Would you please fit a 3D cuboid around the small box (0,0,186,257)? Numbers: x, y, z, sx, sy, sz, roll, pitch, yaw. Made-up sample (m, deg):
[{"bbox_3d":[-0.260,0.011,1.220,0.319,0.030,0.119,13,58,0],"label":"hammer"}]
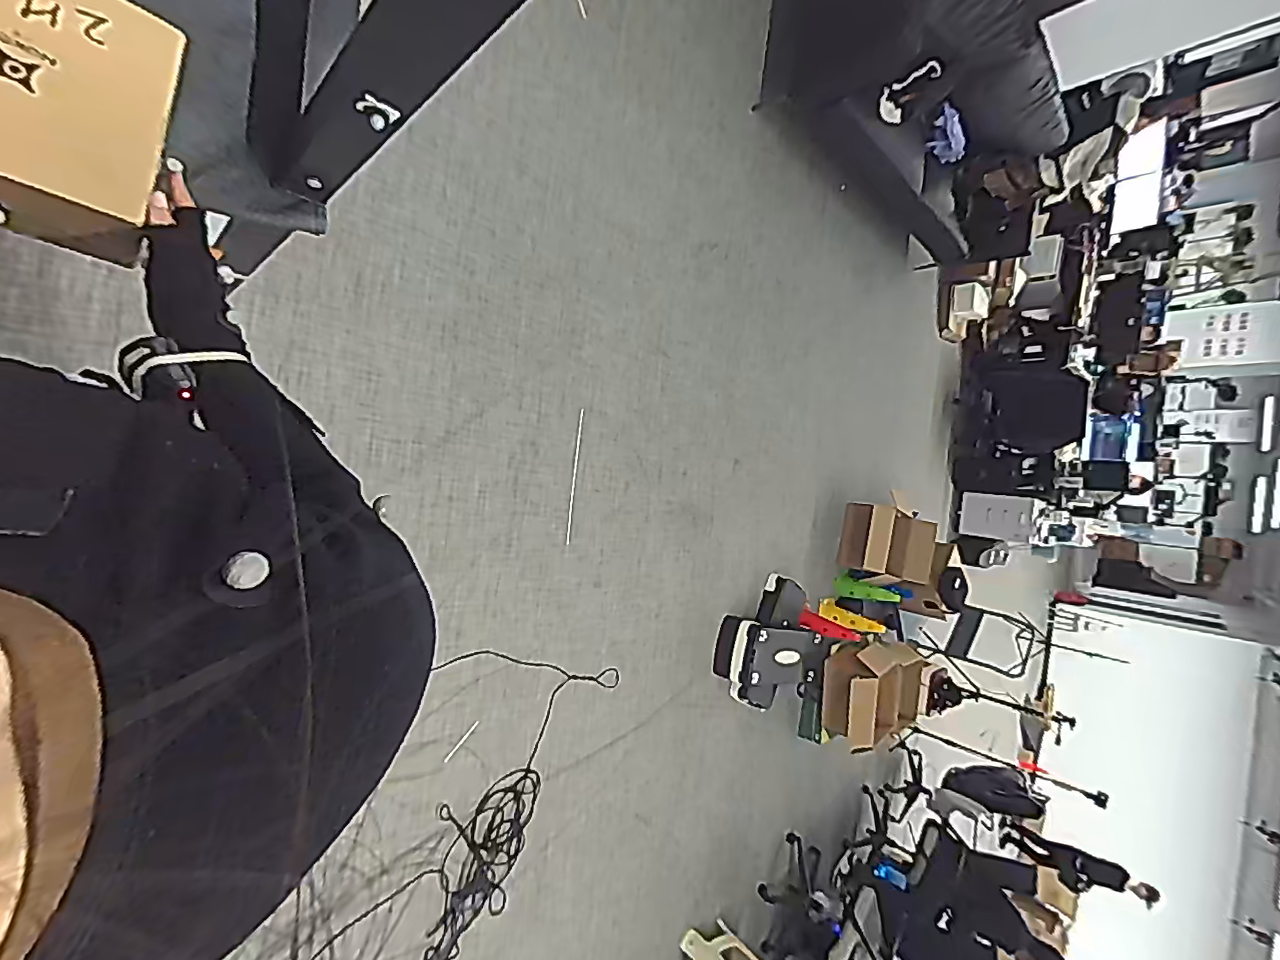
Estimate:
[{"bbox_3d":[-0.512,-0.315,0.455,0.168,0.176,0.179,13,84,-46],"label":"small box"}]
